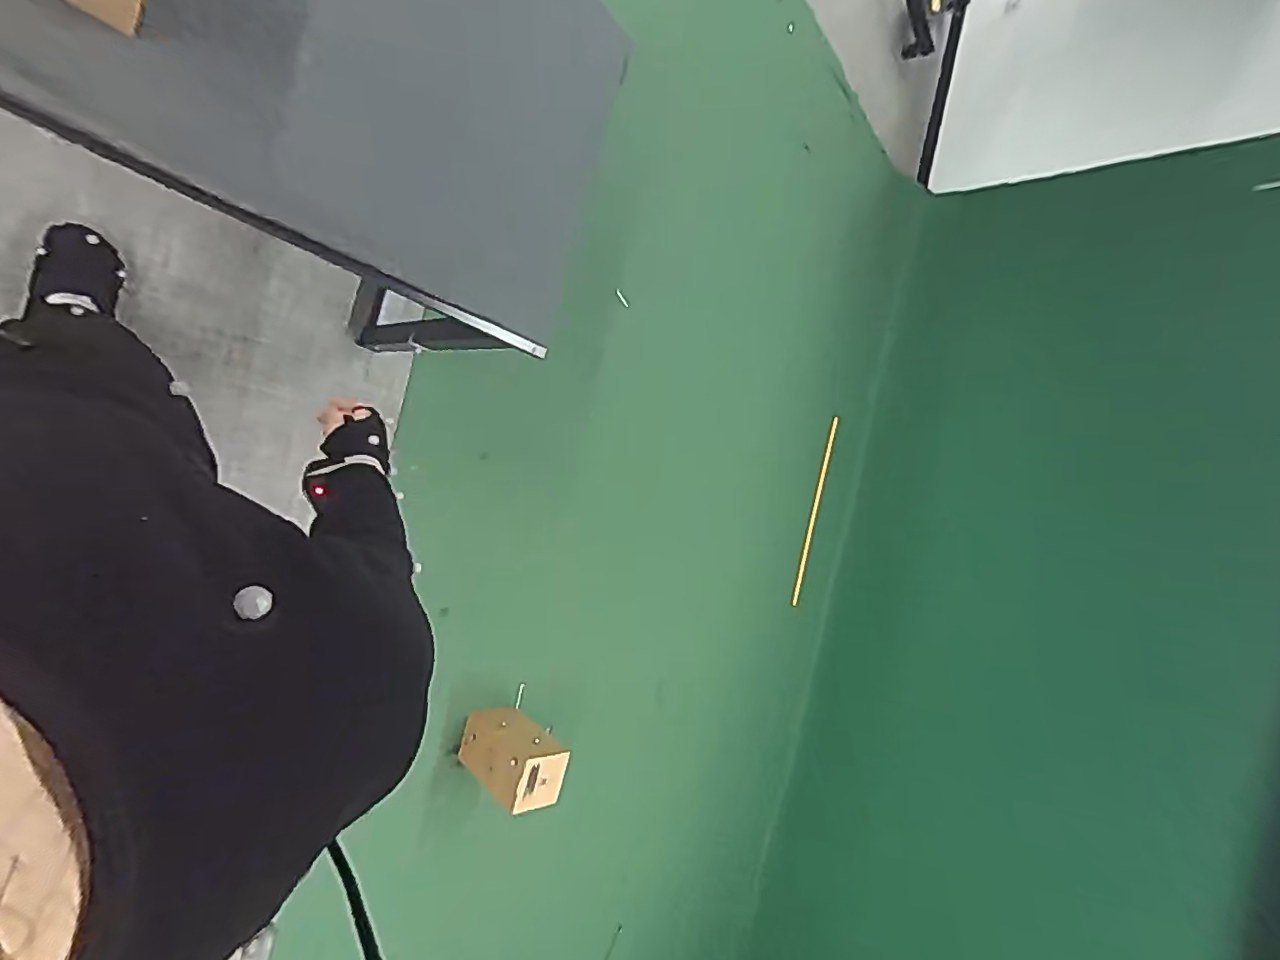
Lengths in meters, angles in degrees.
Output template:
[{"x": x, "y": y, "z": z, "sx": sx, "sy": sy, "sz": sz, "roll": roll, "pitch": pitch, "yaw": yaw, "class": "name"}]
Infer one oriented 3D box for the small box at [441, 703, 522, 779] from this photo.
[{"x": -0.533, "y": 0.864, "z": 1.814, "sx": 0.179, "sy": 0.176, "sz": 0.168, "roll": 20, "pitch": 85, "yaw": -48, "class": "small box"}]
